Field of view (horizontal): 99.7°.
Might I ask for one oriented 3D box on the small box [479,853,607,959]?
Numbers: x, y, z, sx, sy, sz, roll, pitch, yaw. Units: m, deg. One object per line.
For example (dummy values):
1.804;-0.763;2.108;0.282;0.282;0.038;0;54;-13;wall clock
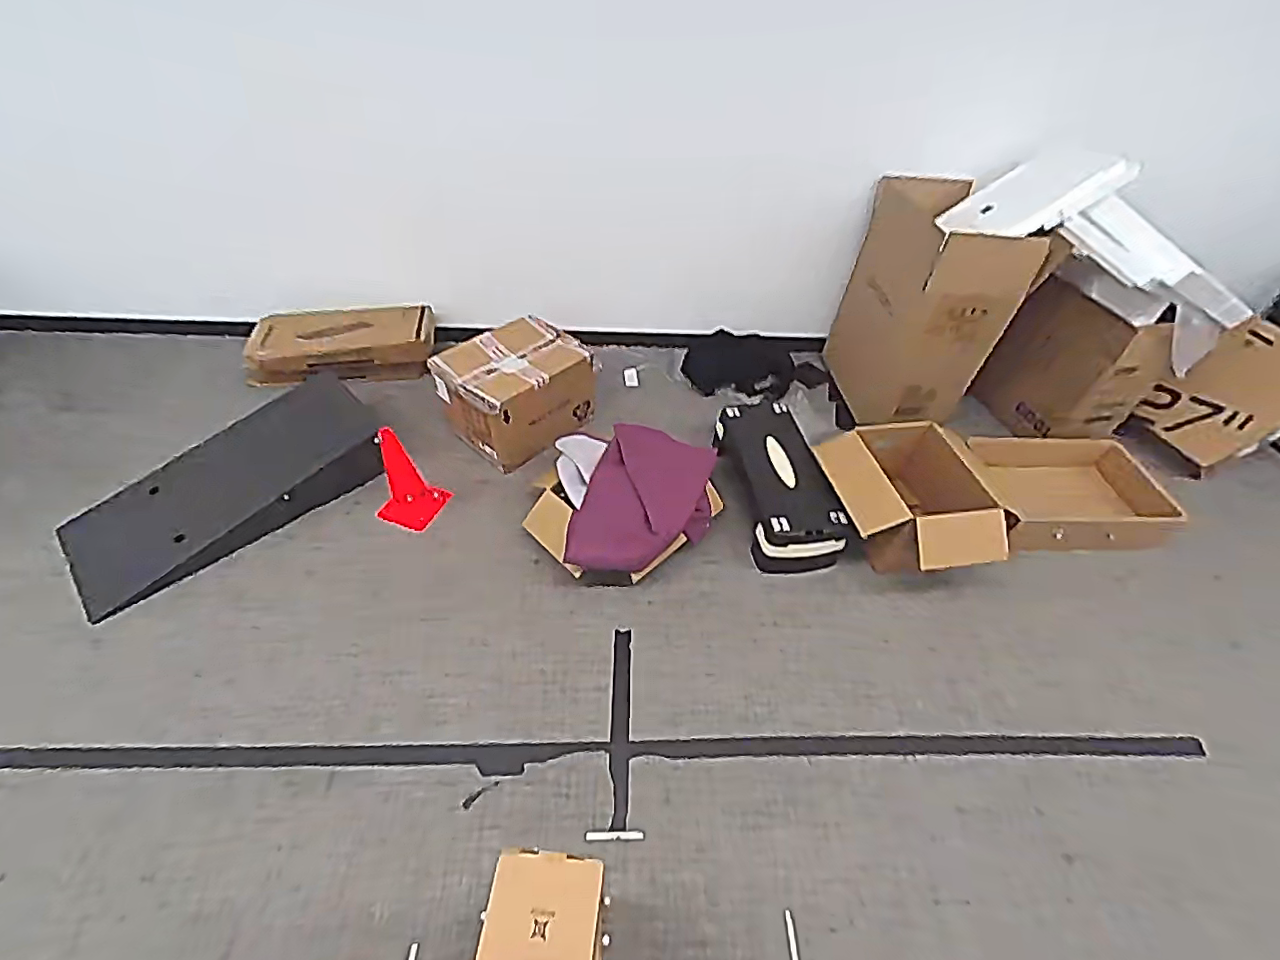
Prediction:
-0.143;0.702;0.831;0.168;0.176;0.179;5;47;2;small box
